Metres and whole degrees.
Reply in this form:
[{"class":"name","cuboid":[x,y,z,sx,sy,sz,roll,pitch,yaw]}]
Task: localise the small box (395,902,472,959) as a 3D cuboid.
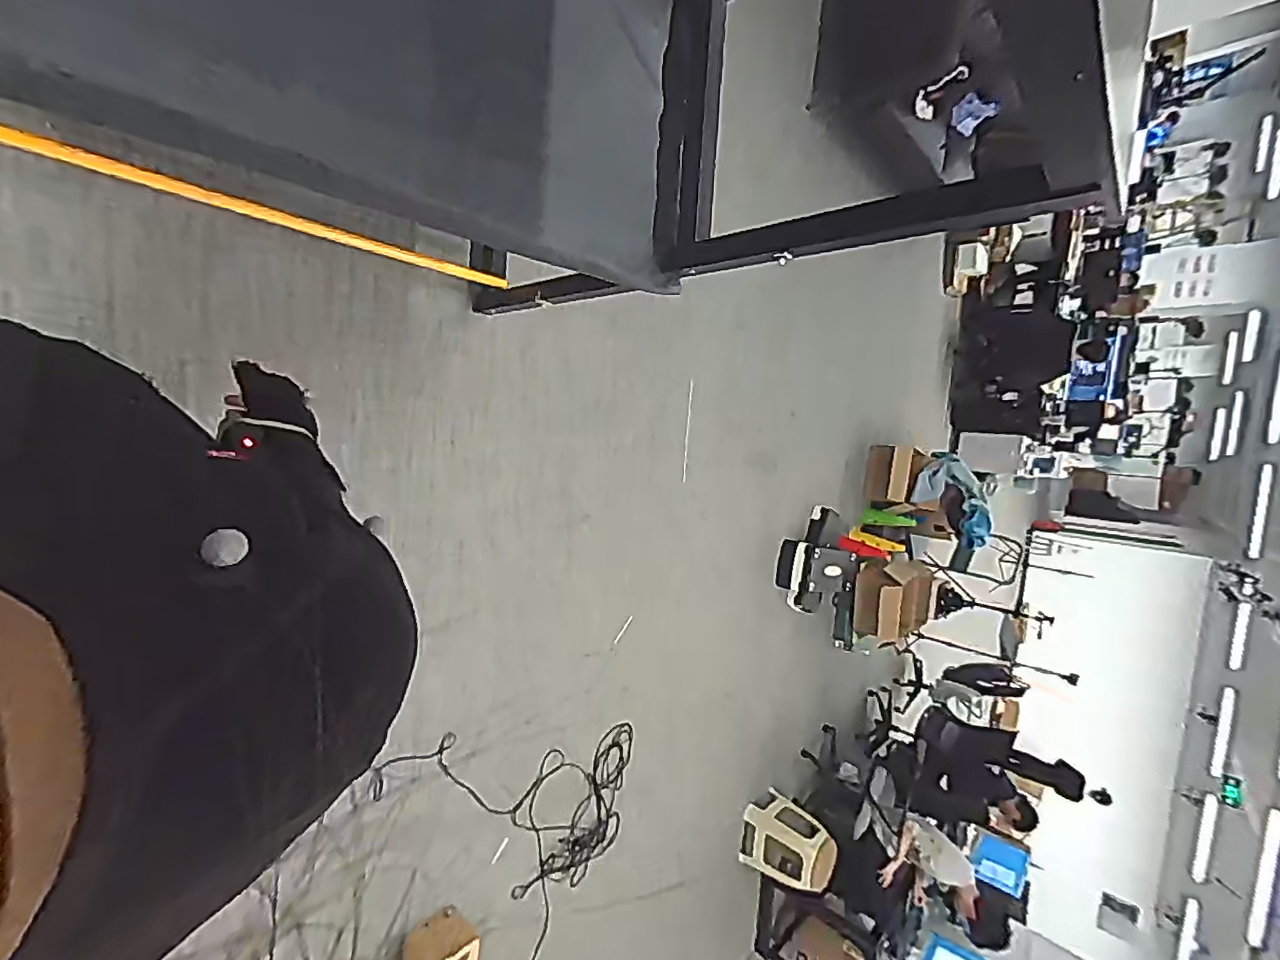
[{"class":"small box","cuboid":[-0.653,1.480,1.699,0.168,0.176,0.179,5,94,-48]}]
